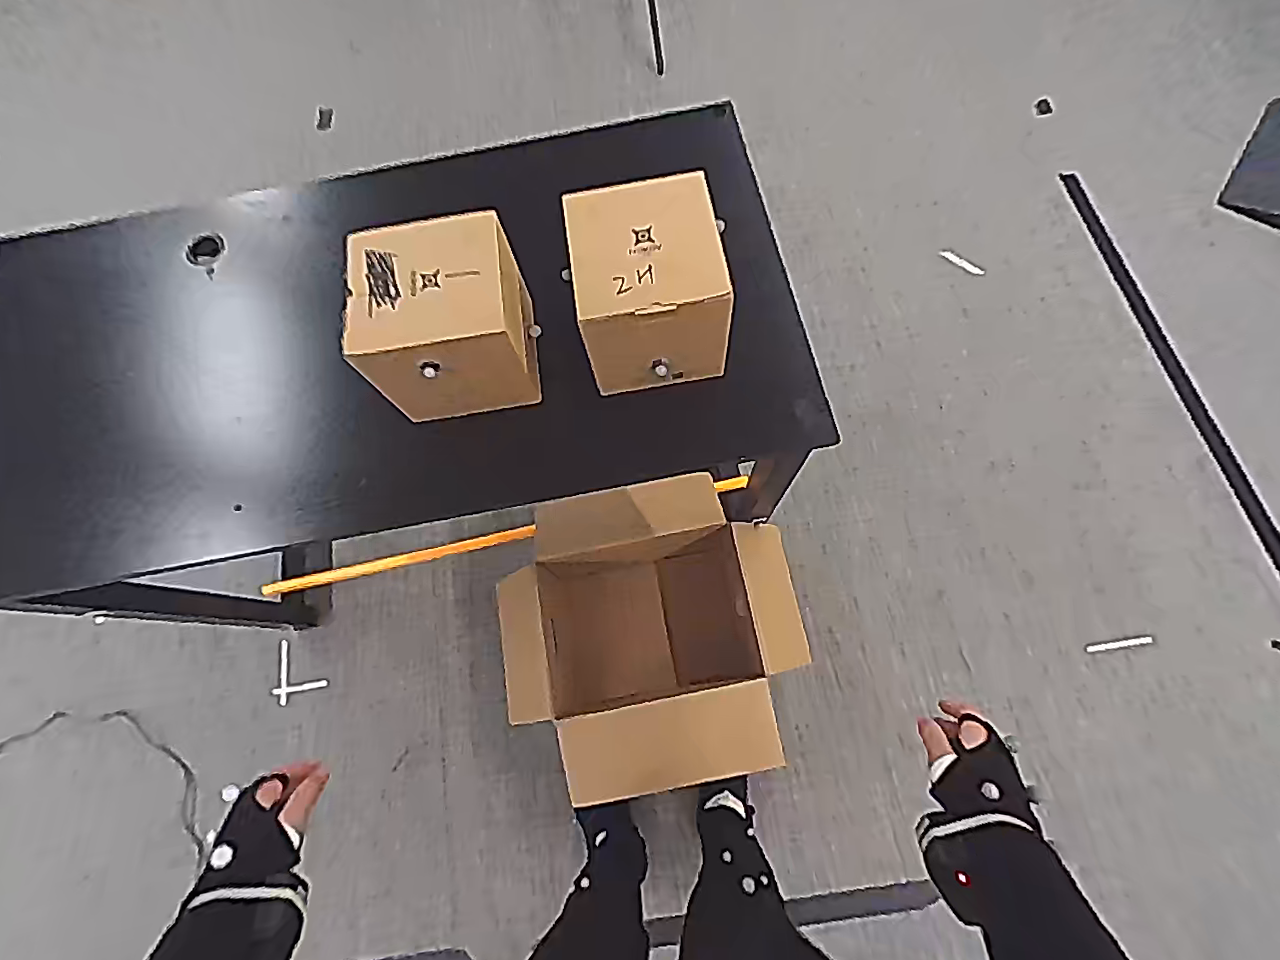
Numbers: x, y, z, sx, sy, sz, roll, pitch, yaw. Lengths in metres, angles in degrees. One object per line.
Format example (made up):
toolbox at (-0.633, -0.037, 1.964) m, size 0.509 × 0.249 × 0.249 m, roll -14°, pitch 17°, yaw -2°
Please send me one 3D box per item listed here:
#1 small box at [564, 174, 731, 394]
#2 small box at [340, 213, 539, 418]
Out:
small box at (0.009, -0.229, 0.660) m, size 0.168 × 0.176 × 0.179 m, roll -9°, pitch 71°, yaw 2°
small box at (-0.234, -0.189, 0.665) m, size 0.179 × 0.176 × 0.168 m, roll -9°, pitch 71°, yaw 0°
